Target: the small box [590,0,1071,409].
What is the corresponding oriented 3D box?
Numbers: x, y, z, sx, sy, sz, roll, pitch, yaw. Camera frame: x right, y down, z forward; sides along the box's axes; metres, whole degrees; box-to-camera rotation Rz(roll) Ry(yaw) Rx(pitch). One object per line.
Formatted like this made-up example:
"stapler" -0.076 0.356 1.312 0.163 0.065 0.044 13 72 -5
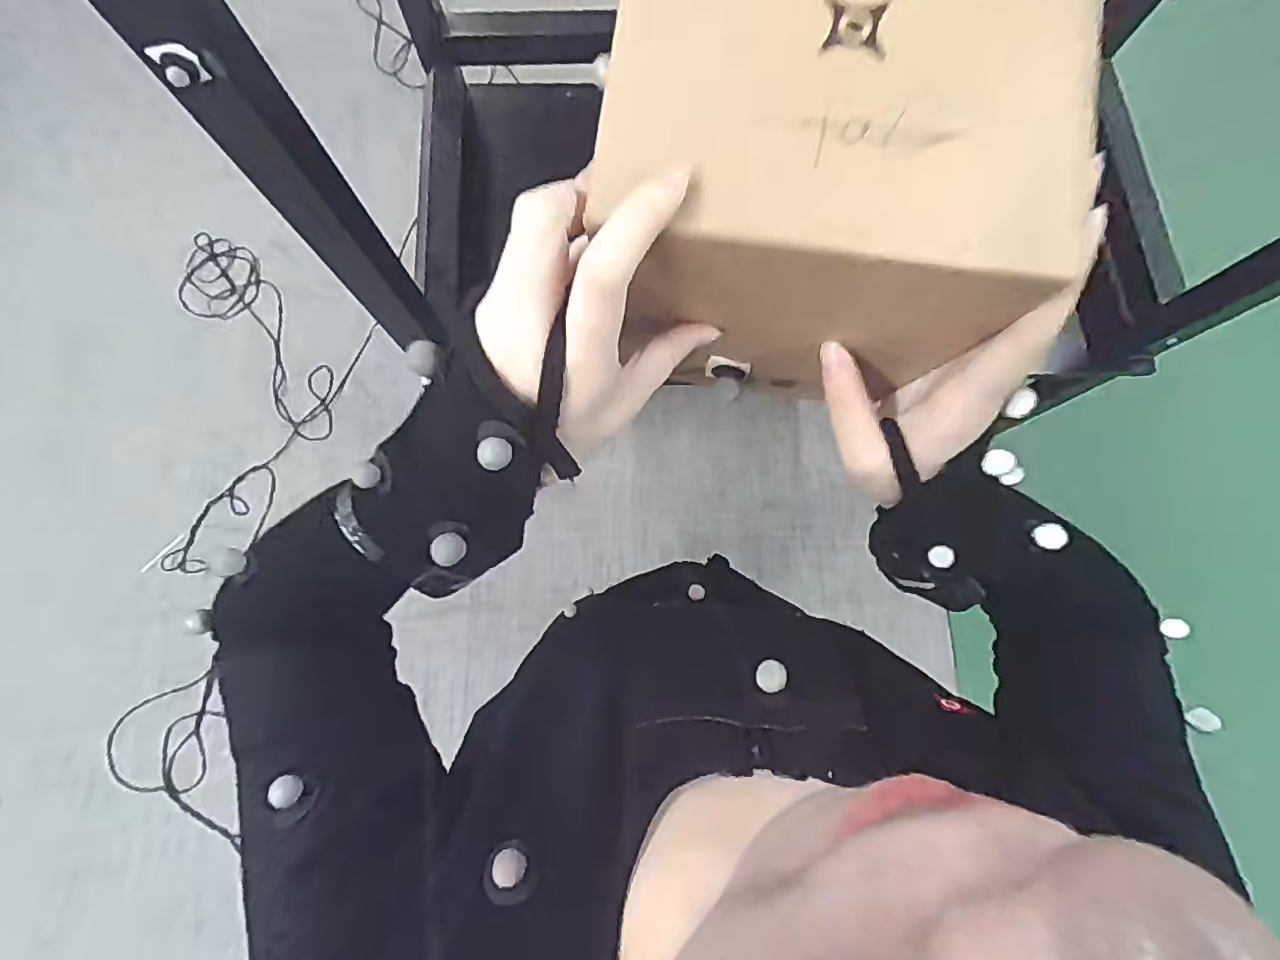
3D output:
"small box" 0.075 -0.150 0.279 0.168 0.176 0.179 8 84 3
